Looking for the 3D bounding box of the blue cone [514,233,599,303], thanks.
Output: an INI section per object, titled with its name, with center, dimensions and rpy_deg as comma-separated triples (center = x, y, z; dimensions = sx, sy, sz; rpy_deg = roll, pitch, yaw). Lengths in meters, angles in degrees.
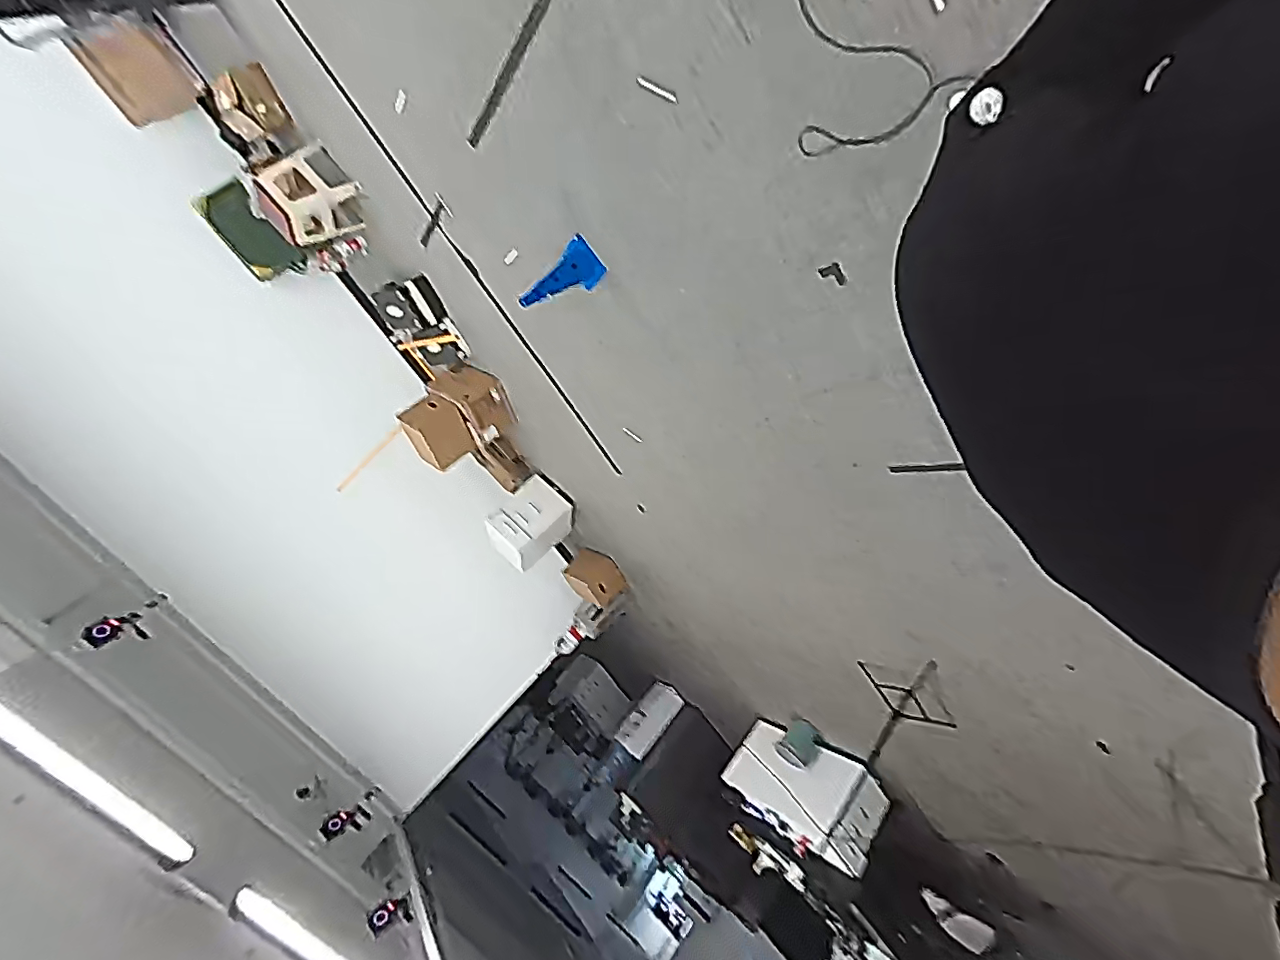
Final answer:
[blue cone]
center = -0.364, -0.831, 2.240
dimensions = 0.192, 0.380, 0.193
rpy_deg = 53, 154, -13
